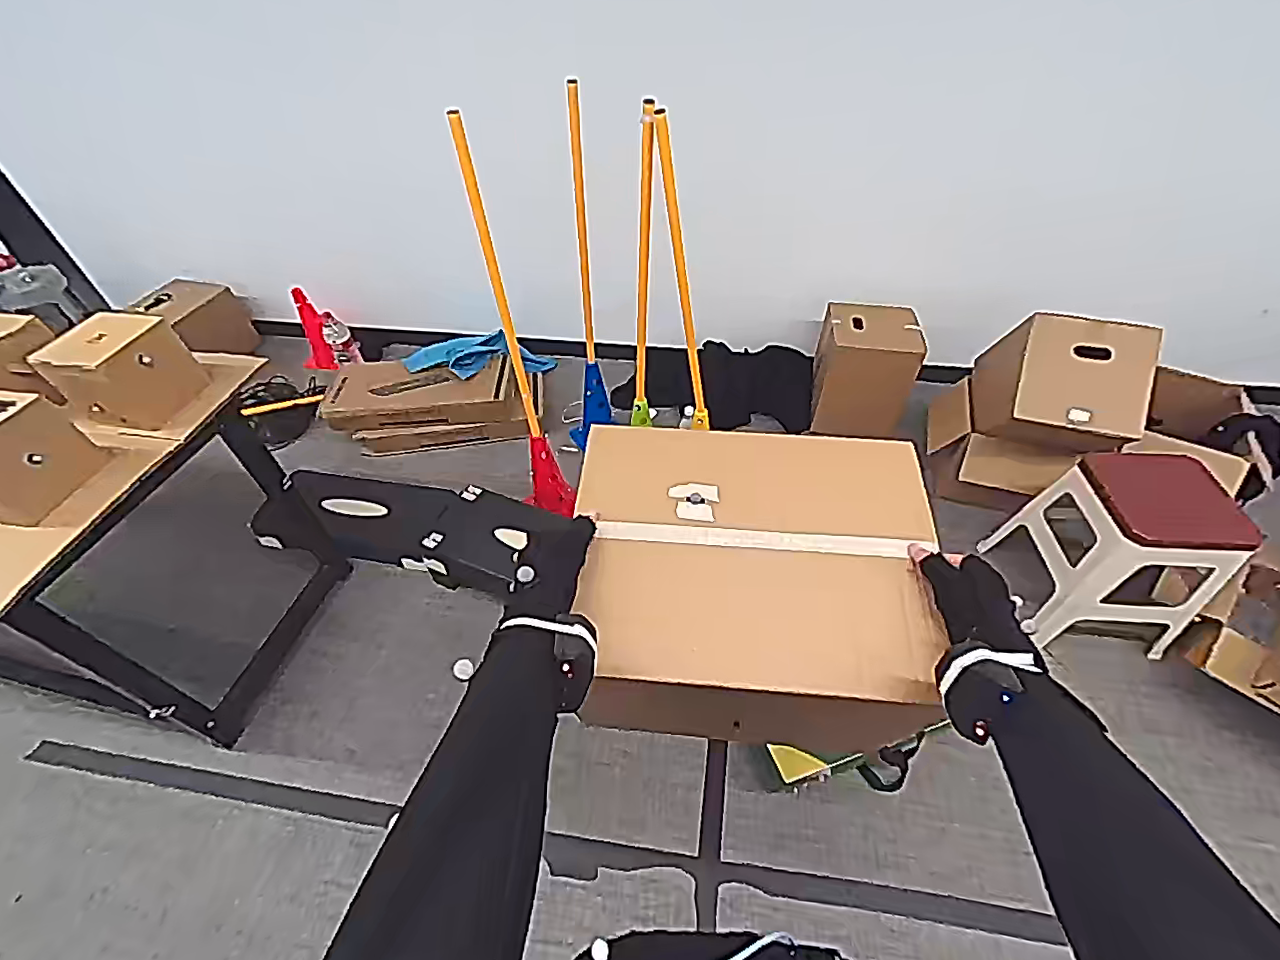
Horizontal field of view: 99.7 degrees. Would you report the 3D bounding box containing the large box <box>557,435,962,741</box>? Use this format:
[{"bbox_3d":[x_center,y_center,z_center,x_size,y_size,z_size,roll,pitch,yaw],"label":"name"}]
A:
[{"bbox_3d":[0.131,0.157,0.735,0.408,0.320,0.320,3,56,5],"label":"large box"}]
